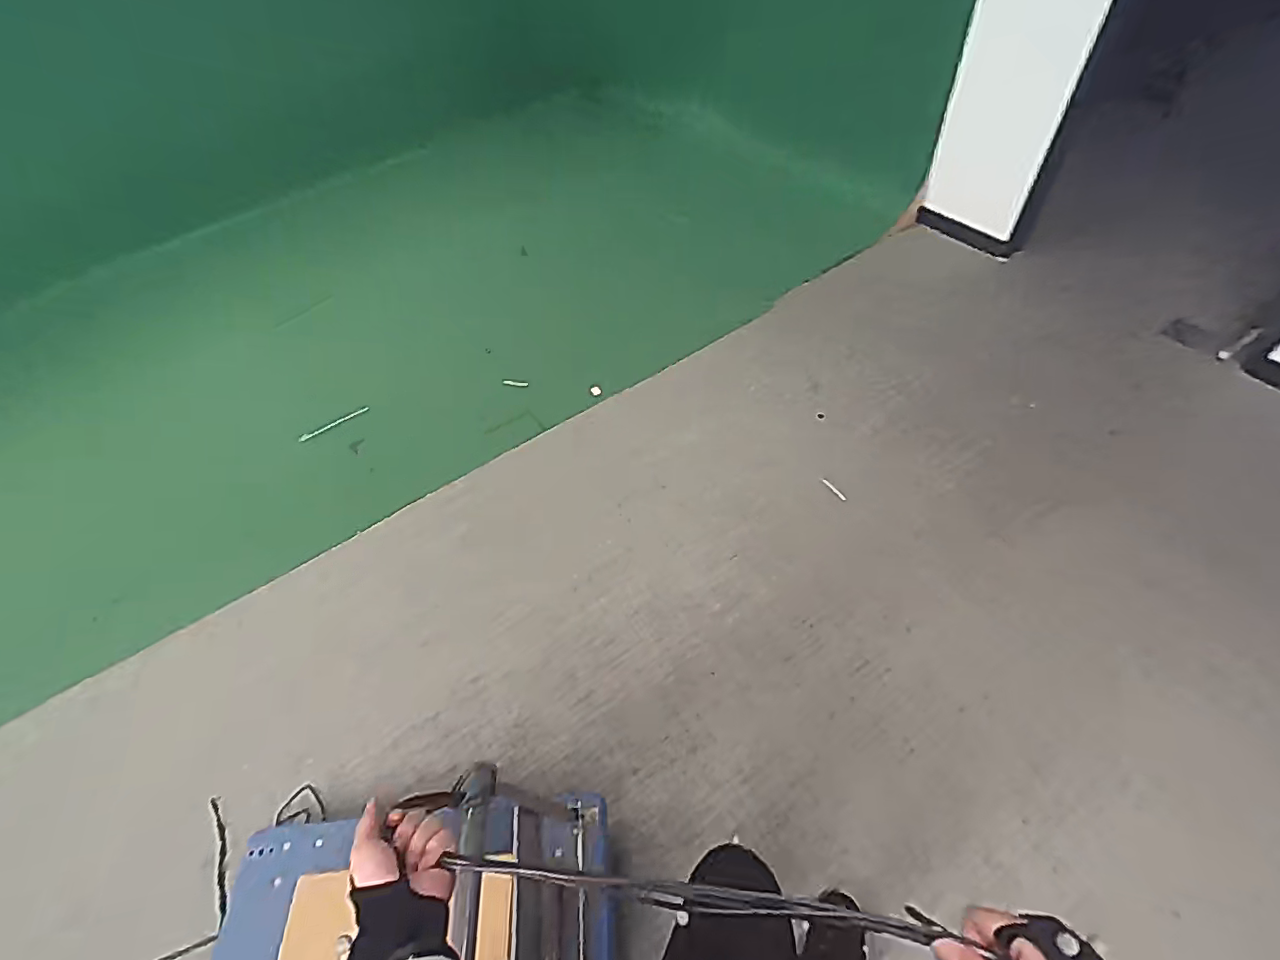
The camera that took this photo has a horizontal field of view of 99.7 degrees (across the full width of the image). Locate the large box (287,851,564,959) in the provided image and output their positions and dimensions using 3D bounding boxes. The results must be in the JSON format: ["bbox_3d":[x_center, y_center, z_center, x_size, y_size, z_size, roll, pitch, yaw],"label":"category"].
[{"bbox_3d":[-0.371,0.894,0.989,0.408,0.320,0.320,-9,53,4],"label":"large box"}]
